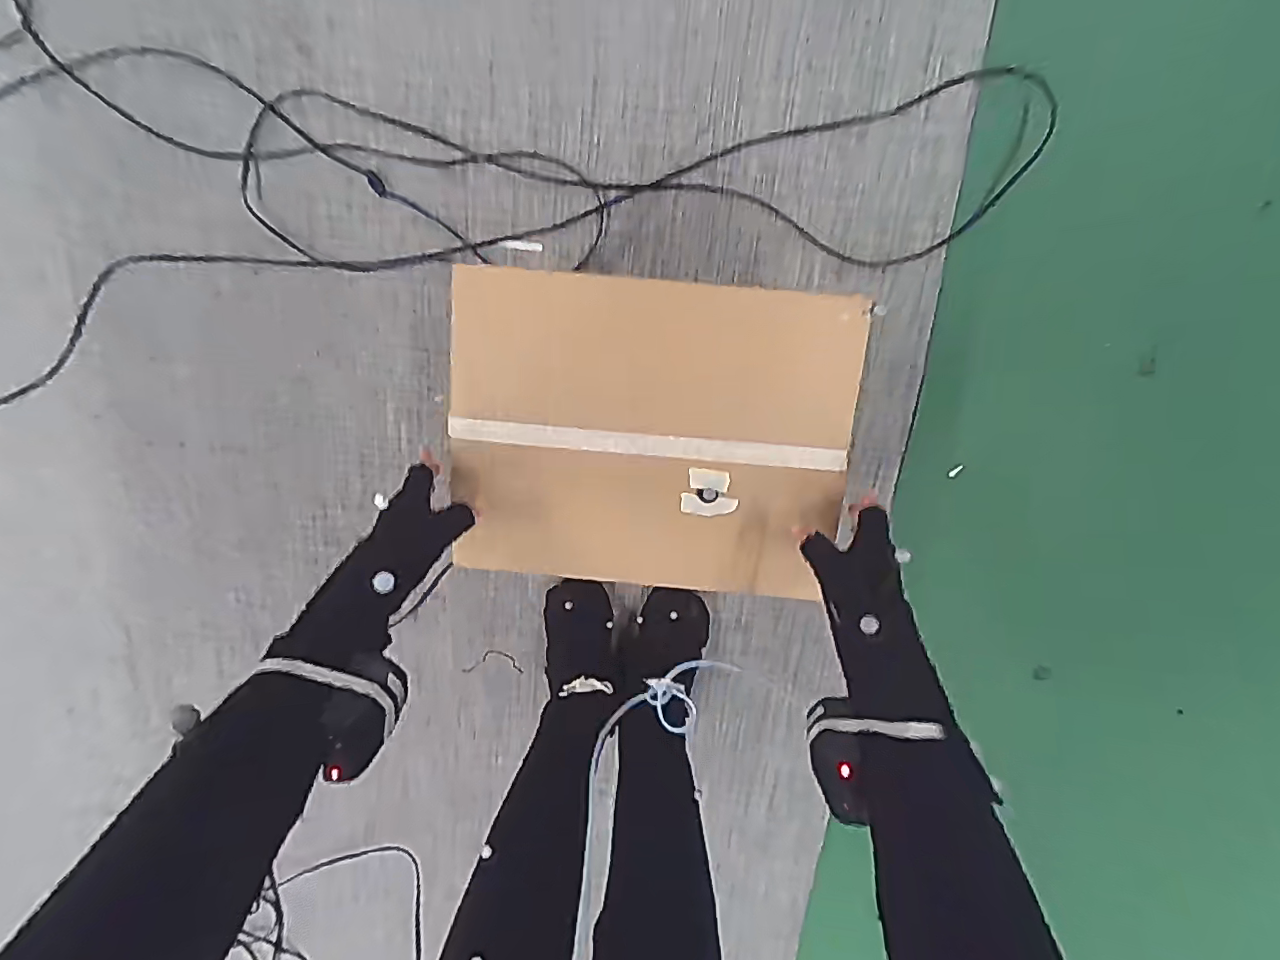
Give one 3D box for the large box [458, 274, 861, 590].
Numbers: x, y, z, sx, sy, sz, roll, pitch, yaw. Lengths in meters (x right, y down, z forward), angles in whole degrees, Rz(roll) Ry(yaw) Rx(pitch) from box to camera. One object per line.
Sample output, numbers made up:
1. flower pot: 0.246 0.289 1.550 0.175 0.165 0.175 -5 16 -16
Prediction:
1. large box: 0.012 -0.072 0.705 0.408 0.320 0.320 5 104 1
